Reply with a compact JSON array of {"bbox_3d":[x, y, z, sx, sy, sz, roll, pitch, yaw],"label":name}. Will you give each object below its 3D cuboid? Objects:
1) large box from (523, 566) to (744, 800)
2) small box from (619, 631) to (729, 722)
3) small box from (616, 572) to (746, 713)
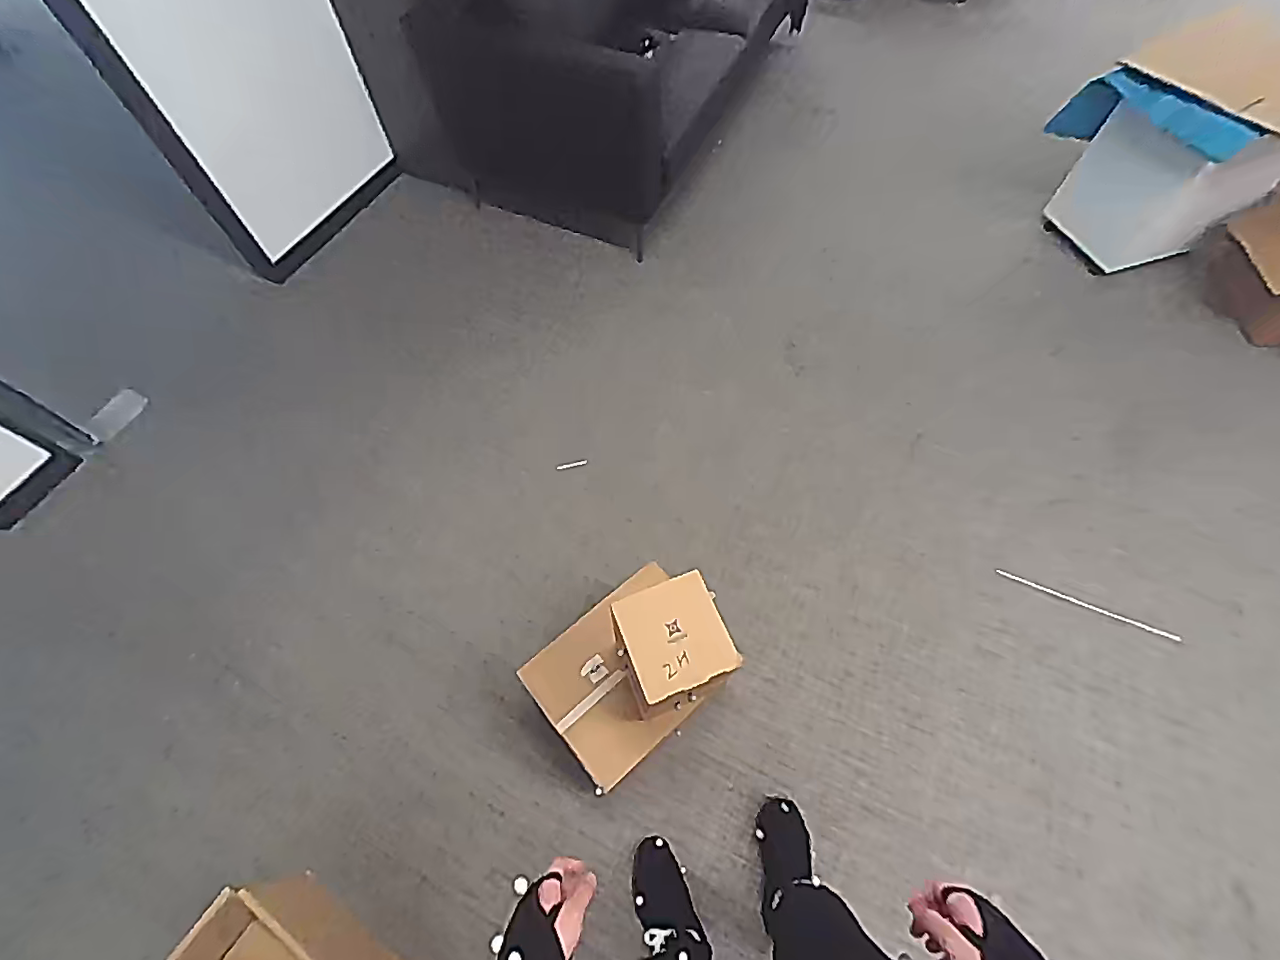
[{"bbox_3d":[-0.010,0.488,1.315,0.408,0.320,0.320,-38,67,-17],"label":"large box"},{"bbox_3d":[0.060,0.372,1.098,0.168,0.176,0.179,-18,63,-10],"label":"small box"},{"bbox_3d":[0.063,0.291,0.953,0.168,0.176,0.179,-19,65,-10],"label":"small box"}]
